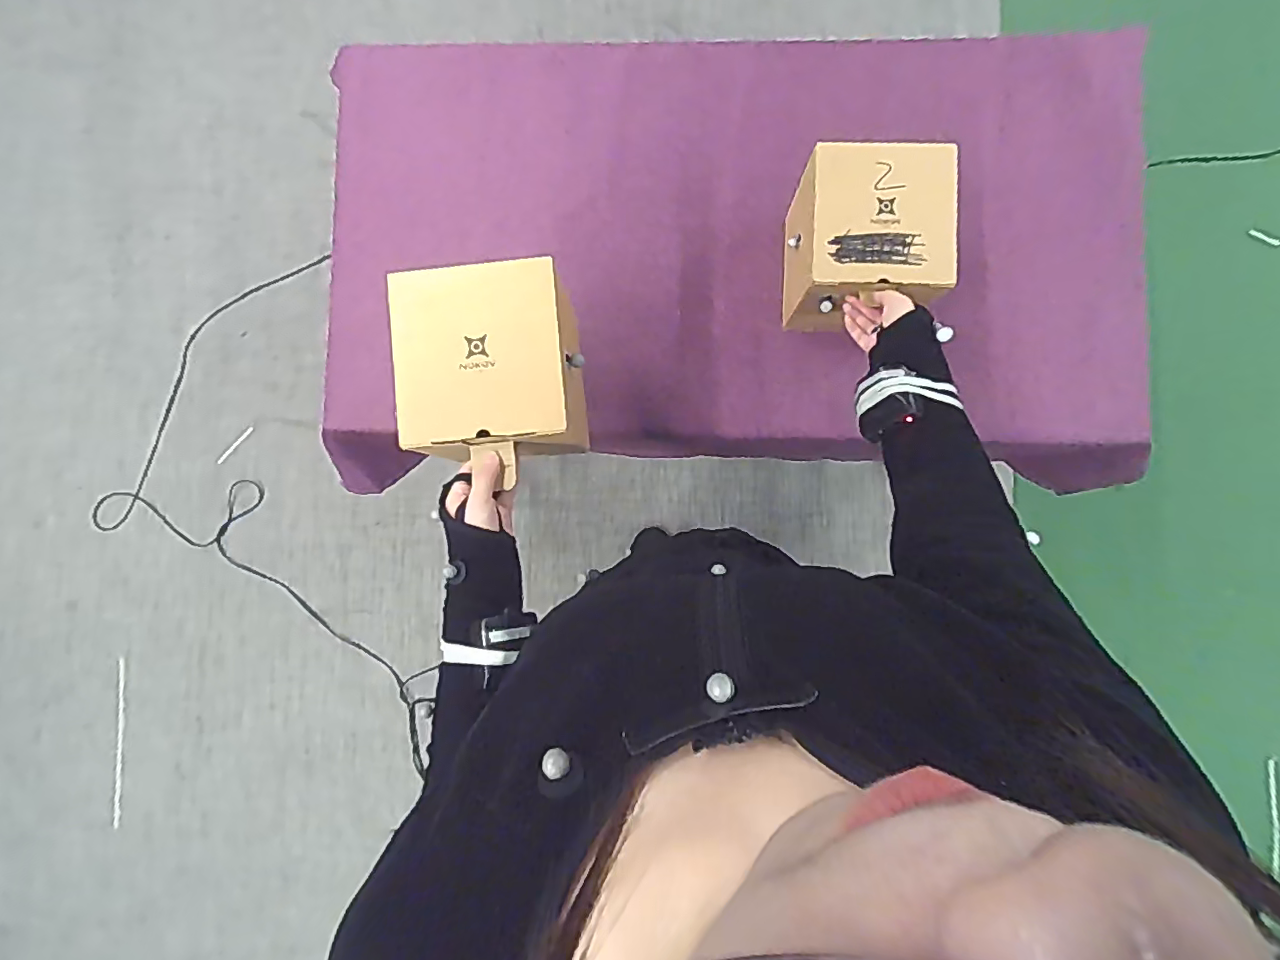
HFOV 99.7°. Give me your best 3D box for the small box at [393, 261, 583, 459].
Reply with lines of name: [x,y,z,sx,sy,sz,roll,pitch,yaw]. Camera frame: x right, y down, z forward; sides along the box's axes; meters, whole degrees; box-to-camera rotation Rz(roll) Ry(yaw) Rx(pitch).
small box: [-0.161,-0.124,0.619,0.168,0.176,0.179,-6,87,1]
